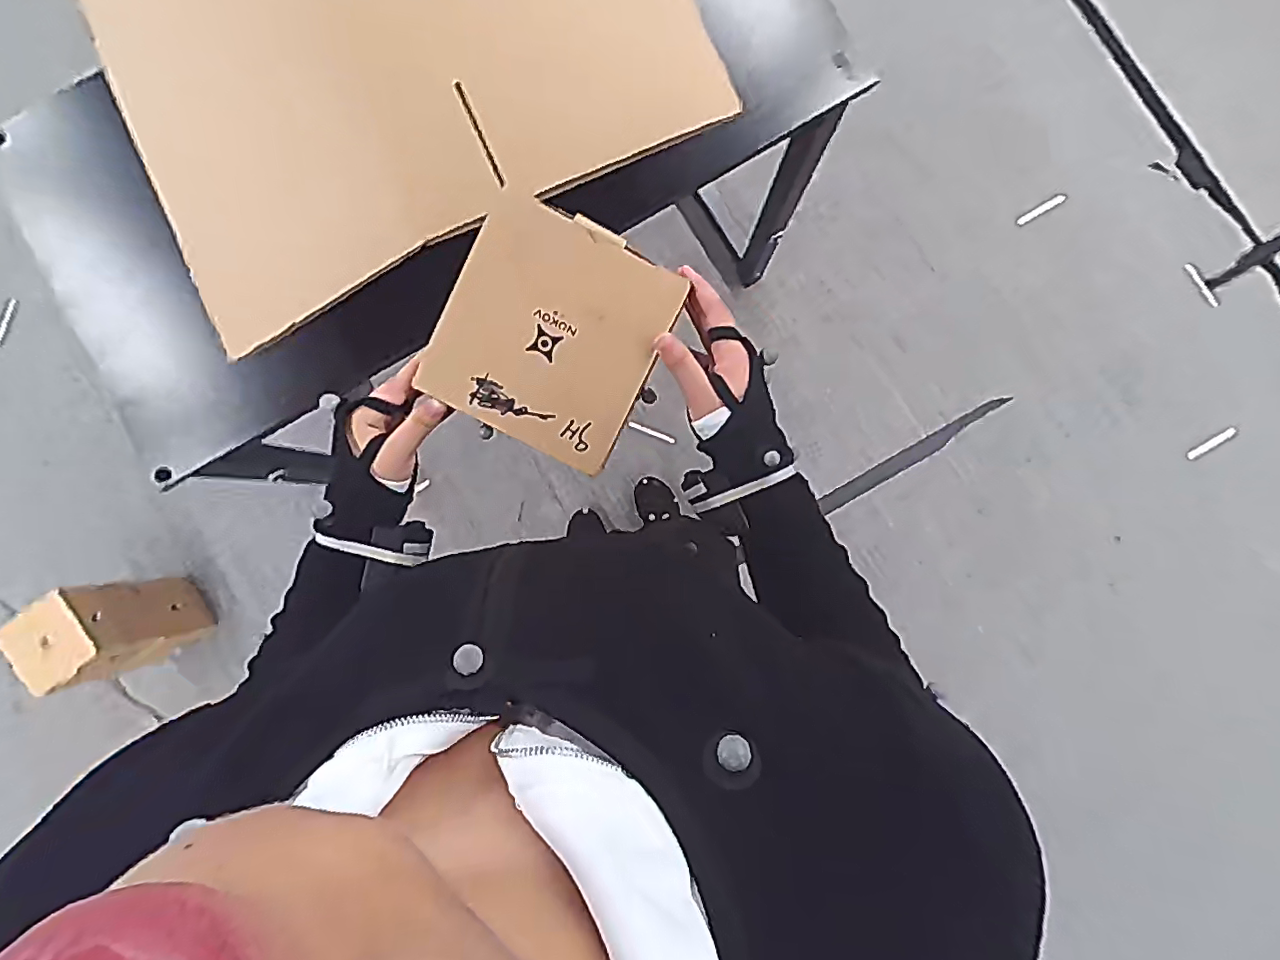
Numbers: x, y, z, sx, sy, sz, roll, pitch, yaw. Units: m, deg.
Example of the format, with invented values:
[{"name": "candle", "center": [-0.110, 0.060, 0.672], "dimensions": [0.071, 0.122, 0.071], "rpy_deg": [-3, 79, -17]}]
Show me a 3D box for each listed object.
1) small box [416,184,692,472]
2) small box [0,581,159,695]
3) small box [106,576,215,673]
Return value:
[{"name": "small box", "center": [-0.071, -0.124, 0.507], "dimensions": [0.168, 0.176, 0.179], "rpy_deg": [26, 93, -3]}, {"name": "small box", "center": [-1.281, 0.351, 1.244], "dimensions": [0.168, 0.176, 0.179], "rpy_deg": [-37, 86, -3]}, {"name": "small box", "center": [-1.276, 0.365, 1.406], "dimensions": [0.168, 0.176, 0.179], "rpy_deg": [-34, 88, -1]}]
